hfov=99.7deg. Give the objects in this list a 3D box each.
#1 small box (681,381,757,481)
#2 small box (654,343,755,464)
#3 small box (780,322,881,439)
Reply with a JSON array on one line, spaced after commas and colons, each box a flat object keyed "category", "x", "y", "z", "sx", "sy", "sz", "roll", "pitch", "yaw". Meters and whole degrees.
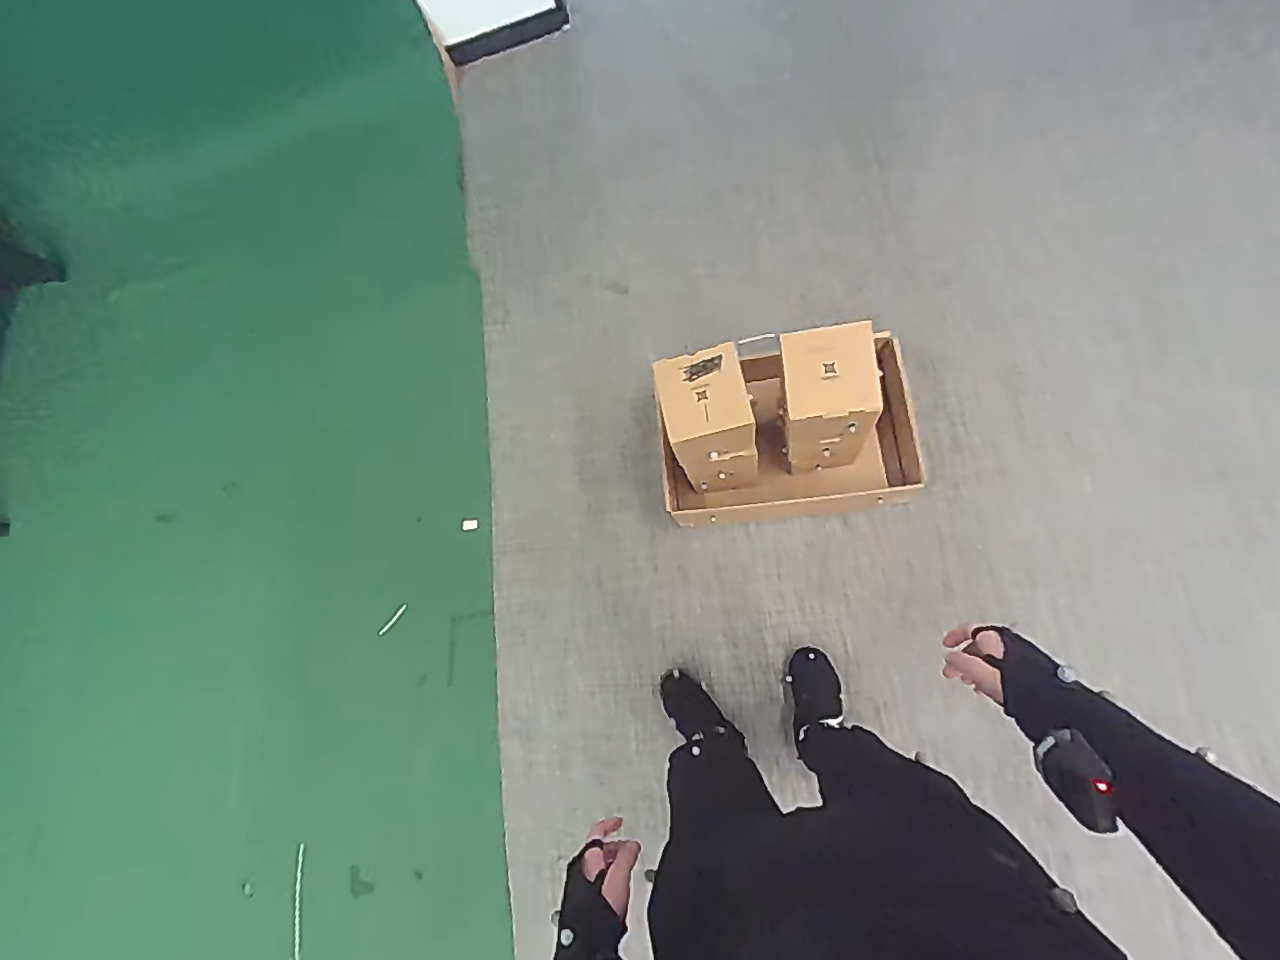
[{"category": "small box", "x": 0.179, "y": -0.110, "z": 1.264, "sx": 0.168, "sy": 0.176, "sz": 0.179, "roll": -8, "pitch": 75, "yaw": 10}, {"category": "small box", "x": 0.135, "y": -0.150, "z": 1.111, "sx": 0.168, "sy": 0.176, "sz": 0.179, "roll": -14, "pitch": 74, "yaw": 9}, {"category": "small box", "x": 0.369, "y": -0.185, "z": 1.070, "sx": 0.168, "sy": 0.176, "sz": 0.179, "roll": -5, "pitch": 77, "yaw": 13}]
